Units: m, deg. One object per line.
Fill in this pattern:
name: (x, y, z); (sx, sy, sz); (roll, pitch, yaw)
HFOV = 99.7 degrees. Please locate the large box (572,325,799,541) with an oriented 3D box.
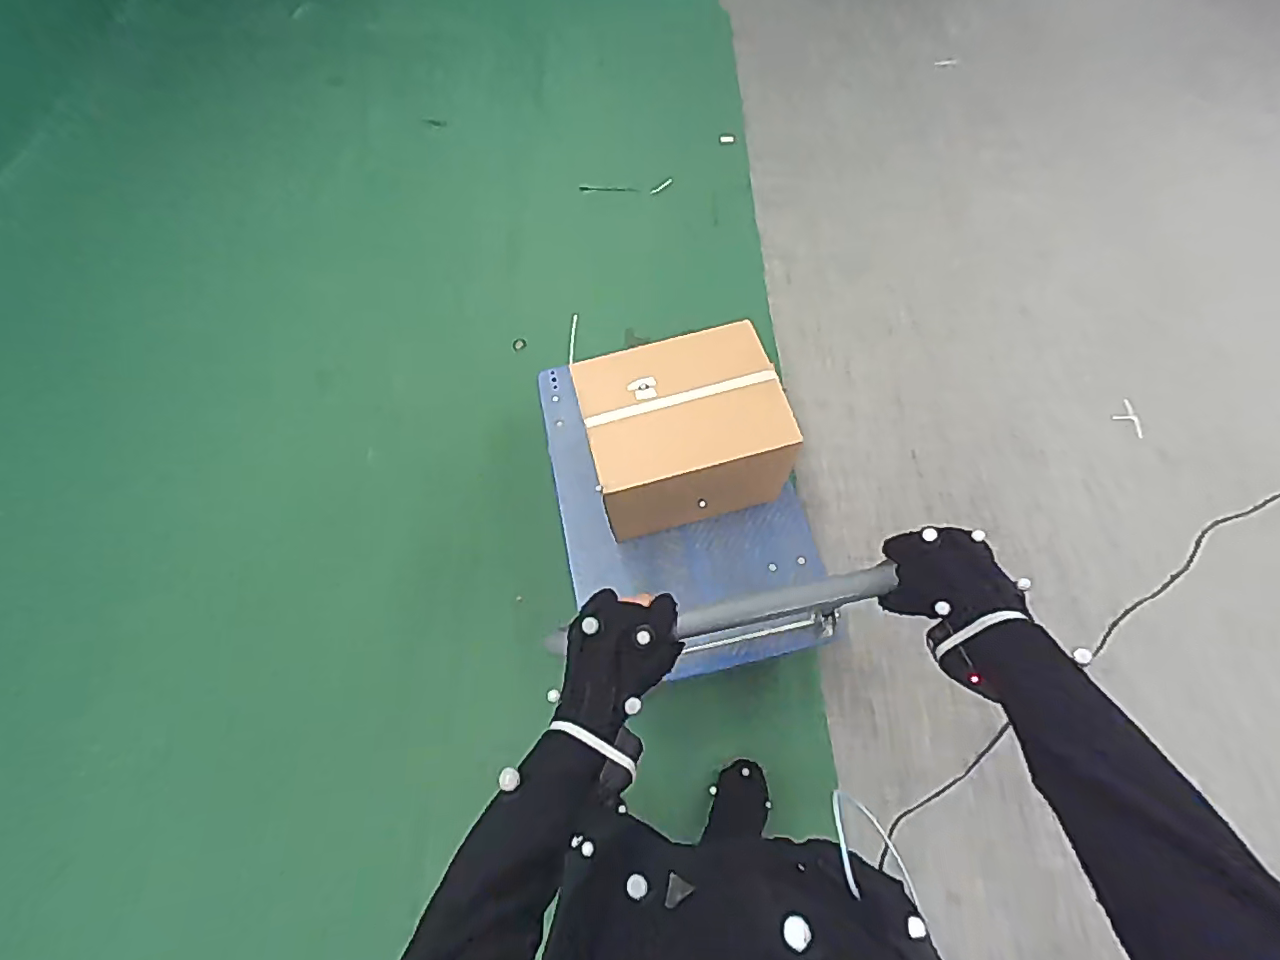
large box: (0.094, -0.093, 1.245); (0.408, 0.320, 0.320); (-16, 66, -3)
